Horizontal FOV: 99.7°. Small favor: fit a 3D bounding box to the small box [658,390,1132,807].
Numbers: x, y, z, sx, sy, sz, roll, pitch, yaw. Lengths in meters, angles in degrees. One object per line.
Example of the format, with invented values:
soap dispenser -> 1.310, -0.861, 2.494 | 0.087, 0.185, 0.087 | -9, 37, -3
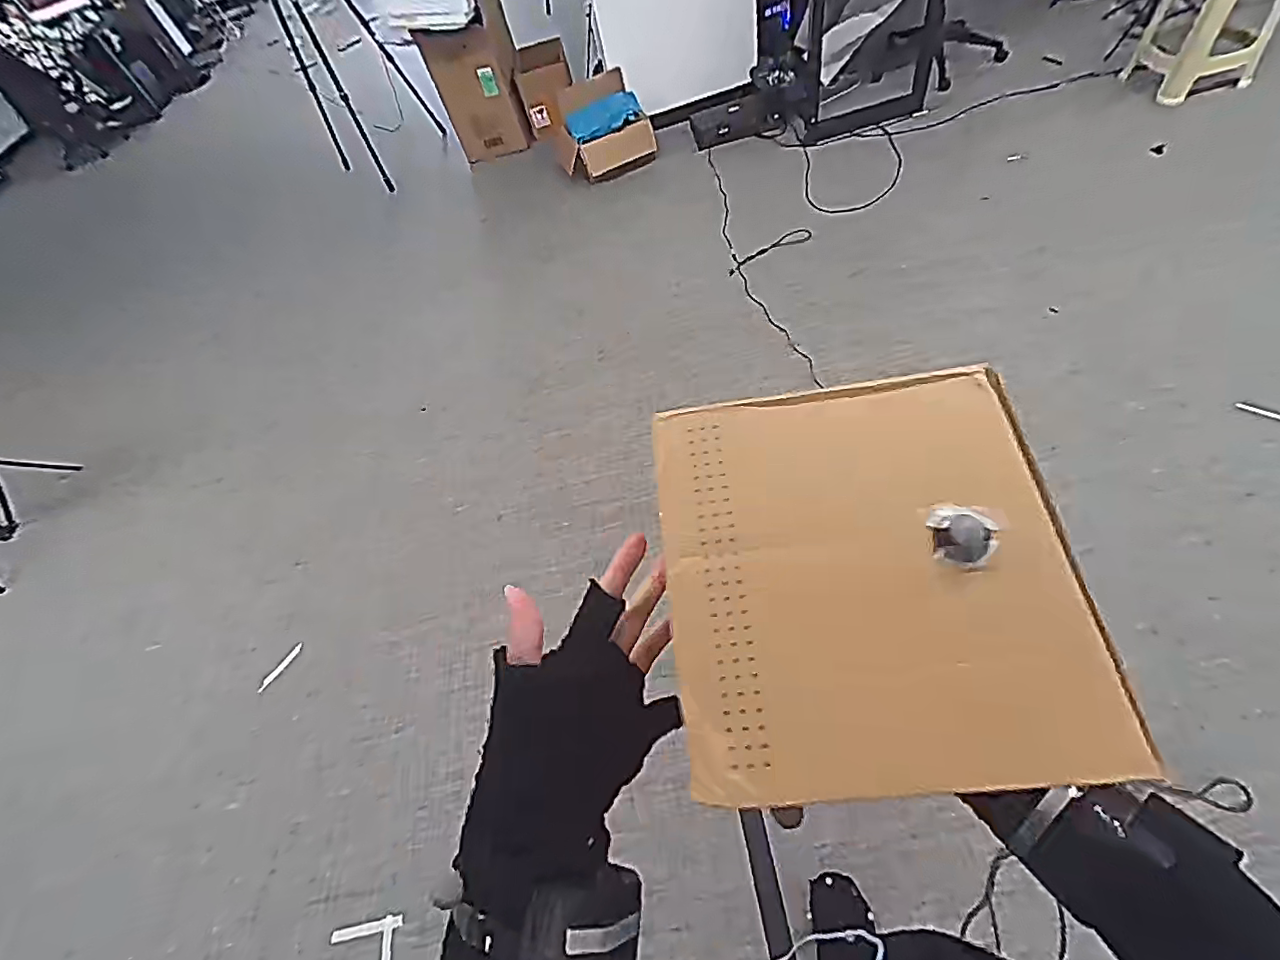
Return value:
small box -> 0.105, 0.074, 0.313 | 0.176, 0.168, 0.179 | -8, 65, 6
